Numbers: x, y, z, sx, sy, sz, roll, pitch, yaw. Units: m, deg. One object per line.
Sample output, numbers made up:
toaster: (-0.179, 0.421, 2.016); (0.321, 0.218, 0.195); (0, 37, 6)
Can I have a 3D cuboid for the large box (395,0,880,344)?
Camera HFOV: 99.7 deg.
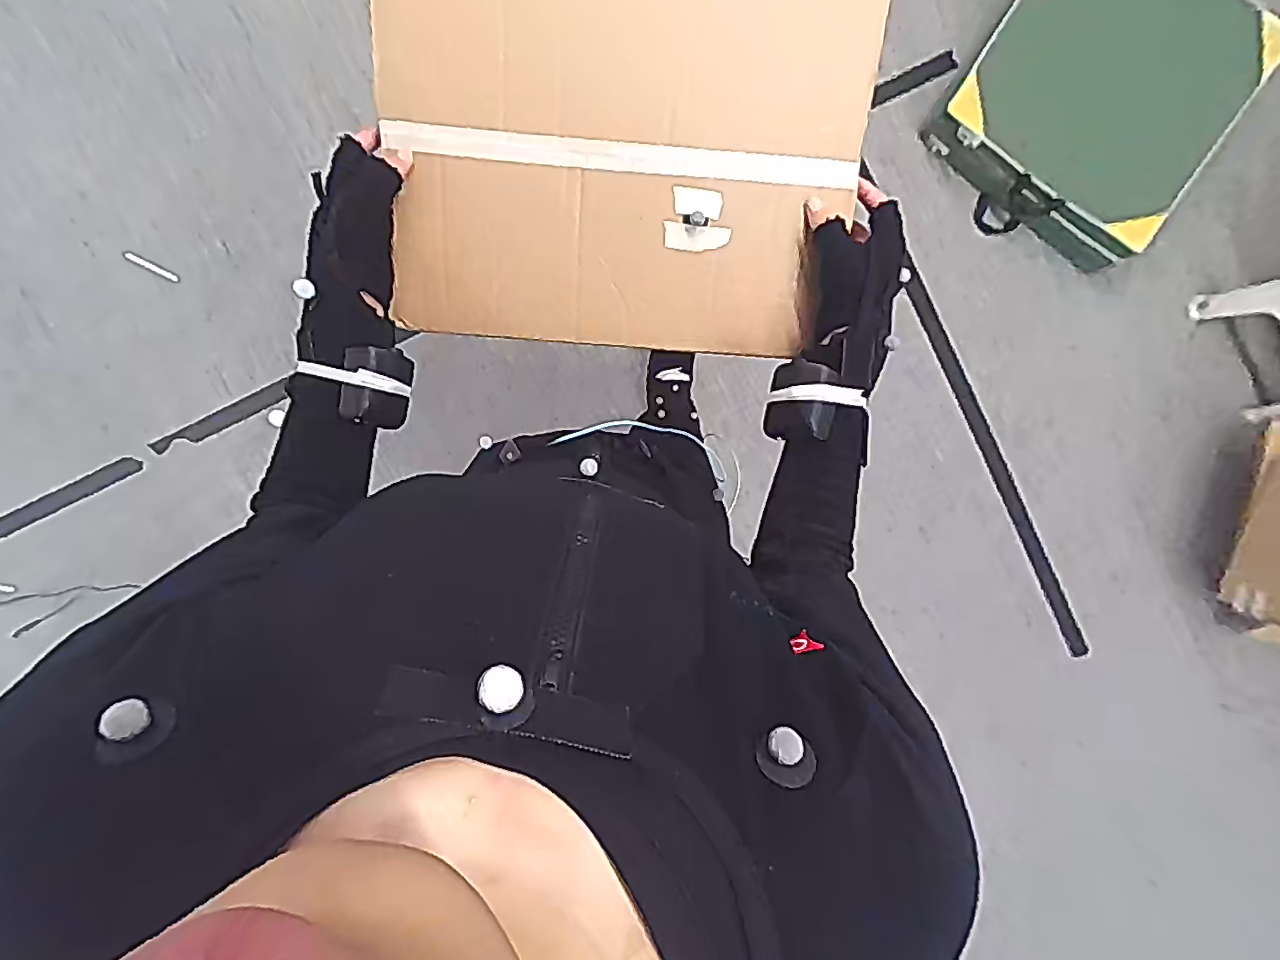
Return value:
large box: (-0.014, -0.336, 0.617); (0.408, 0.320, 0.320); (4, 110, -4)
